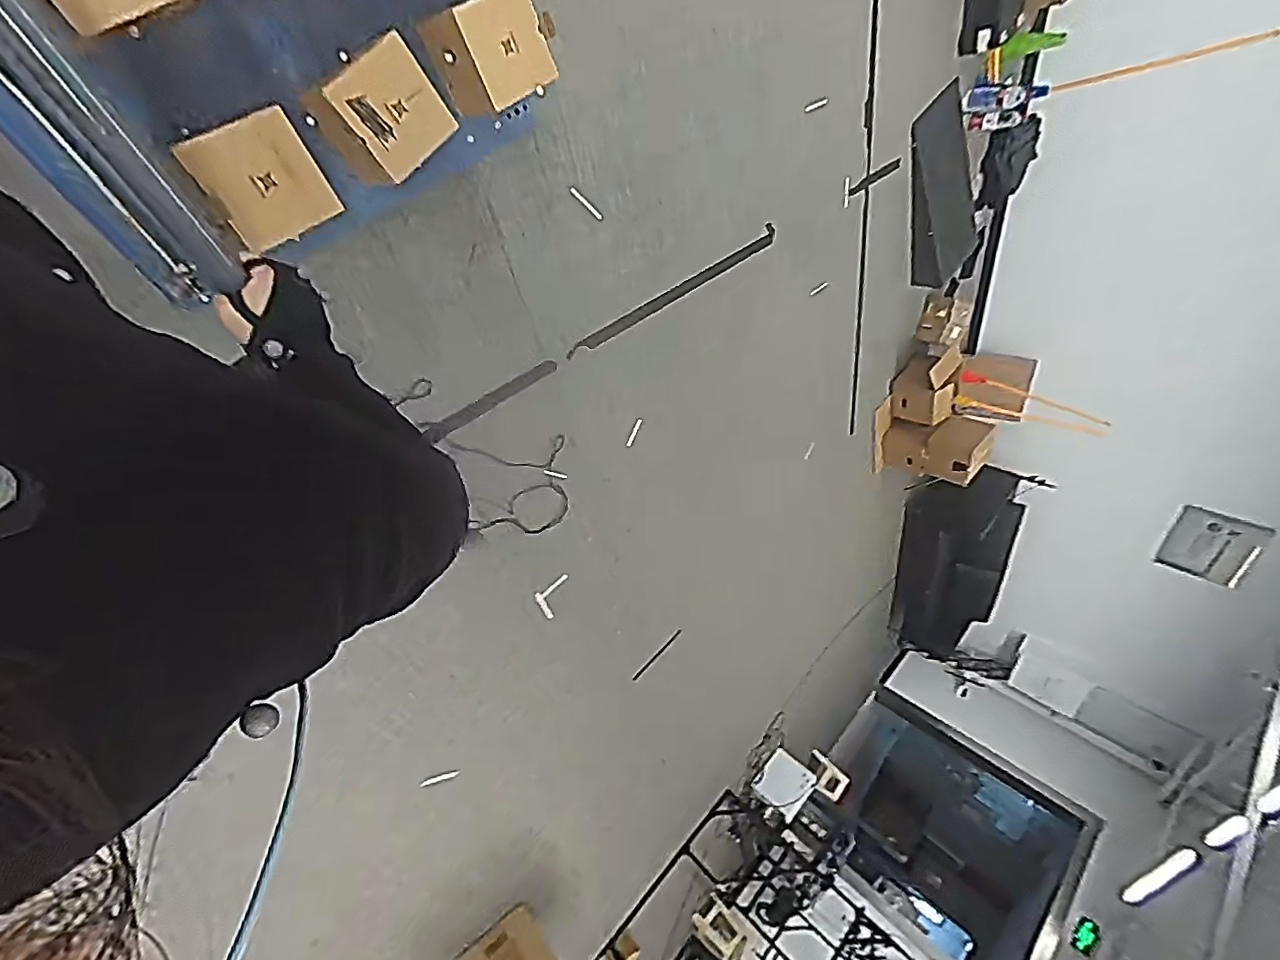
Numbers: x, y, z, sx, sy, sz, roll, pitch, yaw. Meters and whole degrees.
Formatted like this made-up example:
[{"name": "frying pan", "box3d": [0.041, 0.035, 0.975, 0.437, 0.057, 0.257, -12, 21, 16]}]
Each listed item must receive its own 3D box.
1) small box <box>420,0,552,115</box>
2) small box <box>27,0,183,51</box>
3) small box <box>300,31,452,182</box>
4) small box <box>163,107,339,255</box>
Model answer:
[{"name": "small box", "box3d": [-0.319, -0.870, 1.099, 0.179, 0.176, 0.168, -46, 137, -19]}, {"name": "small box", "box3d": [-0.752, -0.707, 0.720, 0.179, 0.176, 0.168, -46, 139, -19]}, {"name": "small box", "box3d": [-0.497, -0.684, 1.010, 0.179, 0.176, 0.168, -53, 140, -13]}, {"name": "small box", "box3d": [-0.667, -0.509, 0.926, 0.179, 0.176, 0.168, -44, 138, -22]}]
